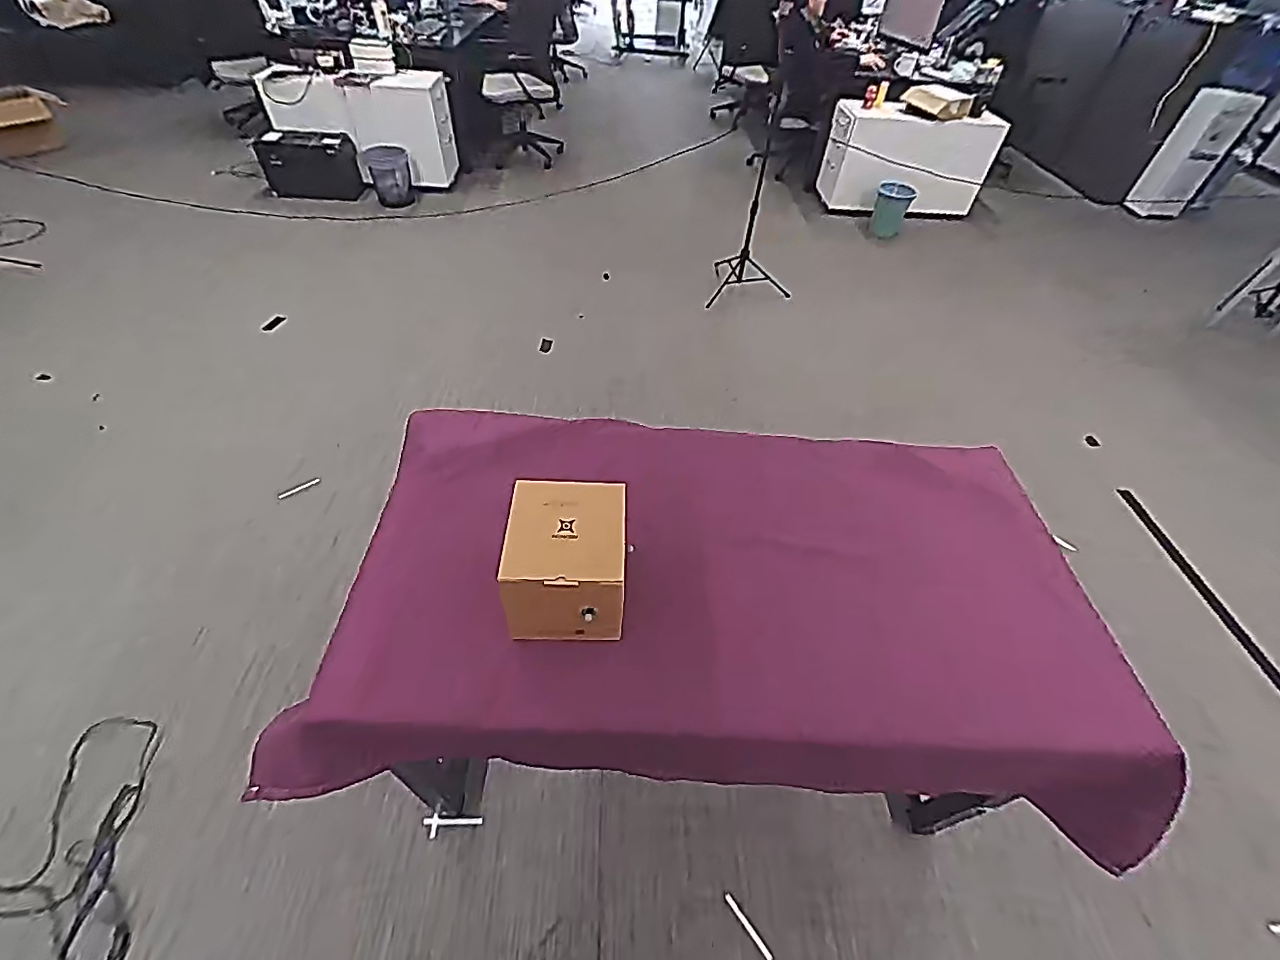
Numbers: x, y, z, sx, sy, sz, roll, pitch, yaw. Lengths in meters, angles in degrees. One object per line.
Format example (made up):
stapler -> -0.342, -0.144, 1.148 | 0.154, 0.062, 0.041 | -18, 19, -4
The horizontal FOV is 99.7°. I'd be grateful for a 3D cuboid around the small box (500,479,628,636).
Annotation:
small box -> -0.104, 0.120, 0.814 | 0.168, 0.176, 0.179 | 3, 48, -3
